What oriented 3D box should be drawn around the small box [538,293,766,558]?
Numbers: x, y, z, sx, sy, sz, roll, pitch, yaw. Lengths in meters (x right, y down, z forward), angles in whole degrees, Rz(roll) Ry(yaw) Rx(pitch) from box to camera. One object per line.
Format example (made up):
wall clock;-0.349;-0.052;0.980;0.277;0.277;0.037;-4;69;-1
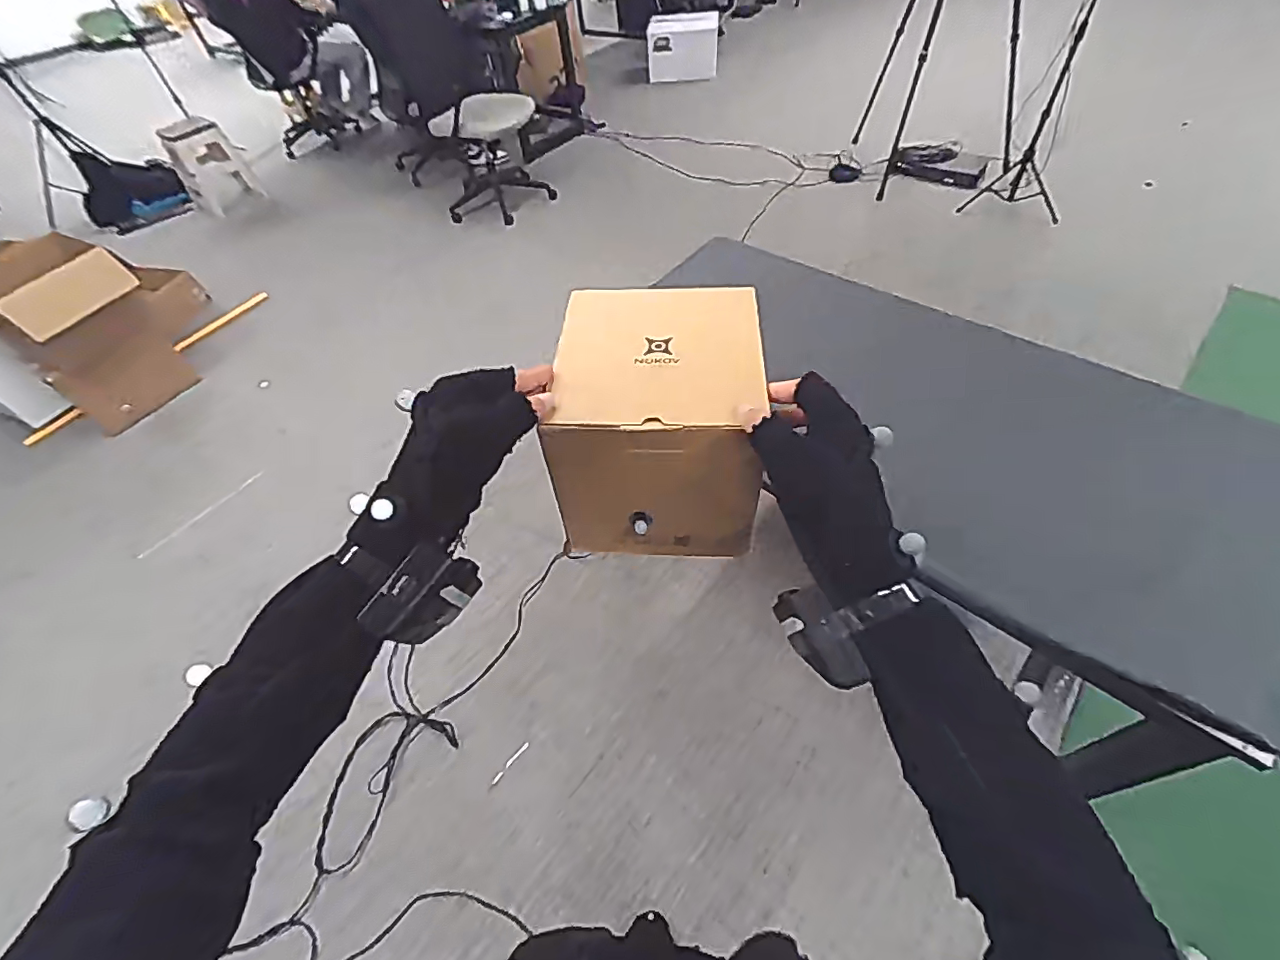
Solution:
small box;0.016;-0.049;0.494;0.168;0.176;0.179;1;51;5
